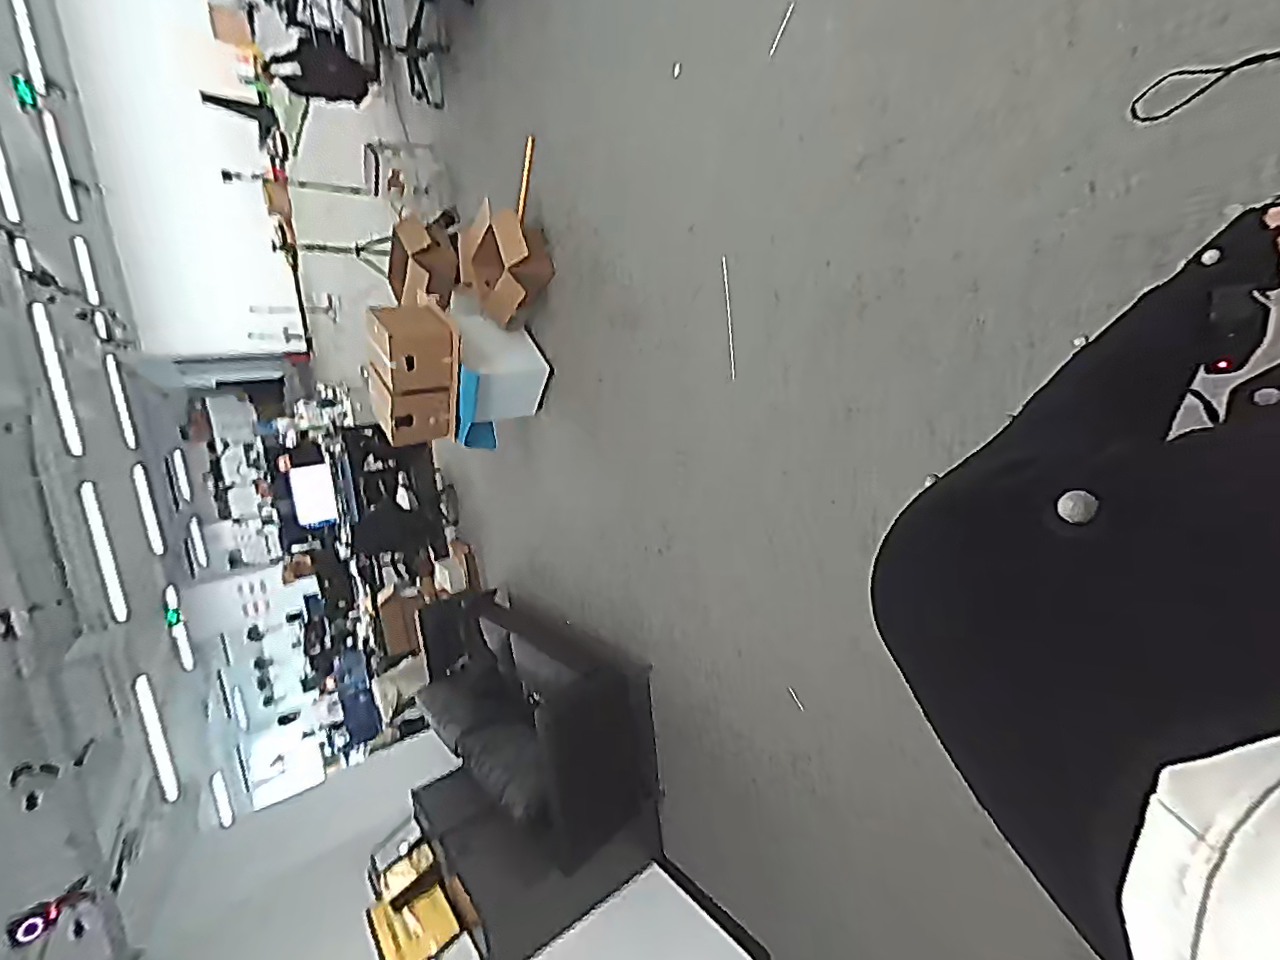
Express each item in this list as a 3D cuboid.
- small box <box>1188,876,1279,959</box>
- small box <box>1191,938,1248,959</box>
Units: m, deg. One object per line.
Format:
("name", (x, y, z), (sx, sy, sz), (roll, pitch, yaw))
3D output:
("small box", (0.999, 0.800, 0.862), (0.168, 0.176, 0.179), (14, 112, 49))
("small box", (0.872, 0.824, 0.762), (0.168, 0.176, 0.179), (15, 111, 50))
